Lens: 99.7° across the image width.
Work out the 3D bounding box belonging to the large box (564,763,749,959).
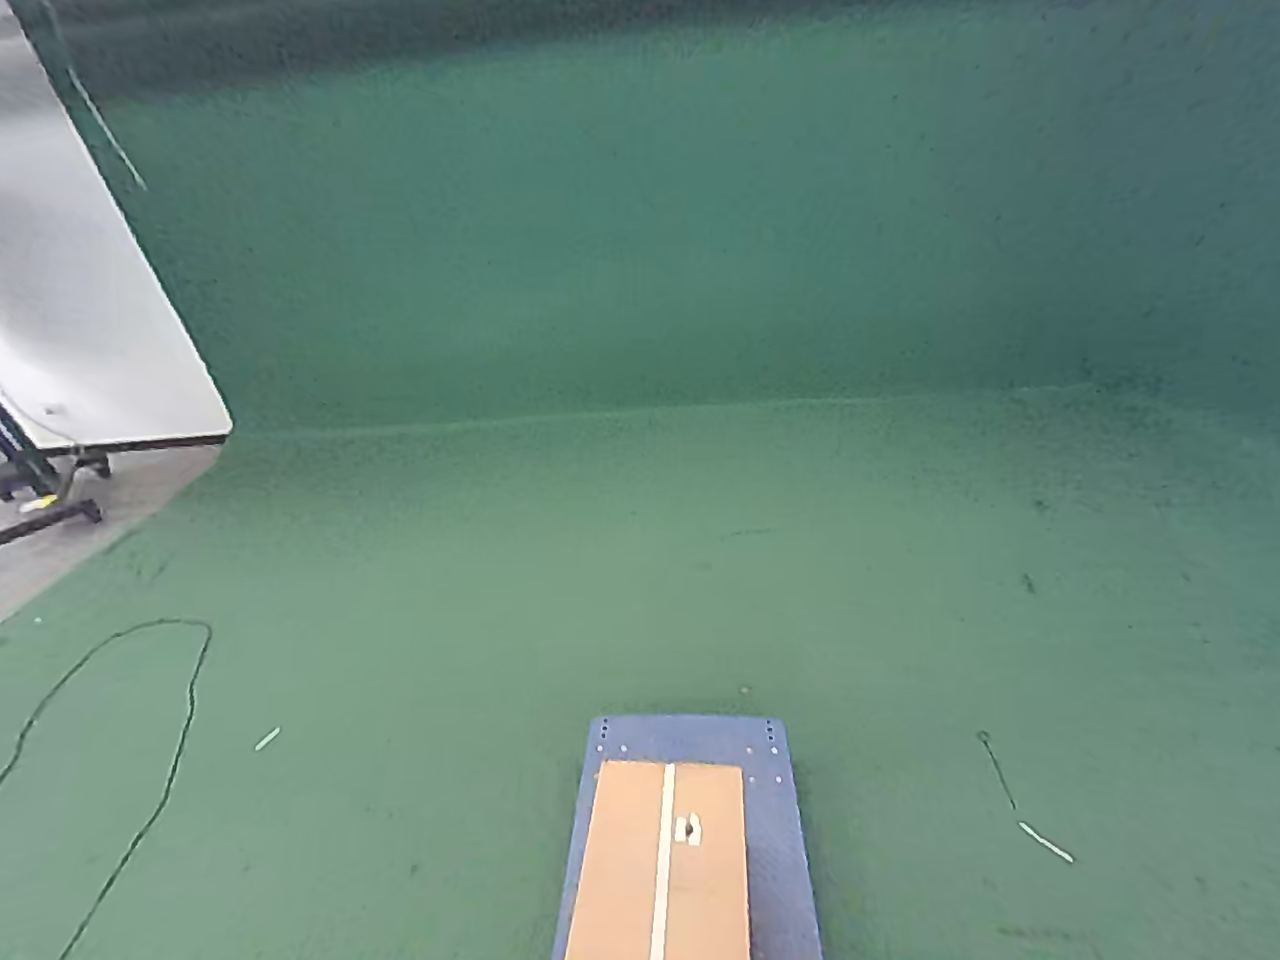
[{"bbox_3d":[0.055,0.863,1.100,0.320,0.320,0.408,-1,31,9],"label":"large box"}]
